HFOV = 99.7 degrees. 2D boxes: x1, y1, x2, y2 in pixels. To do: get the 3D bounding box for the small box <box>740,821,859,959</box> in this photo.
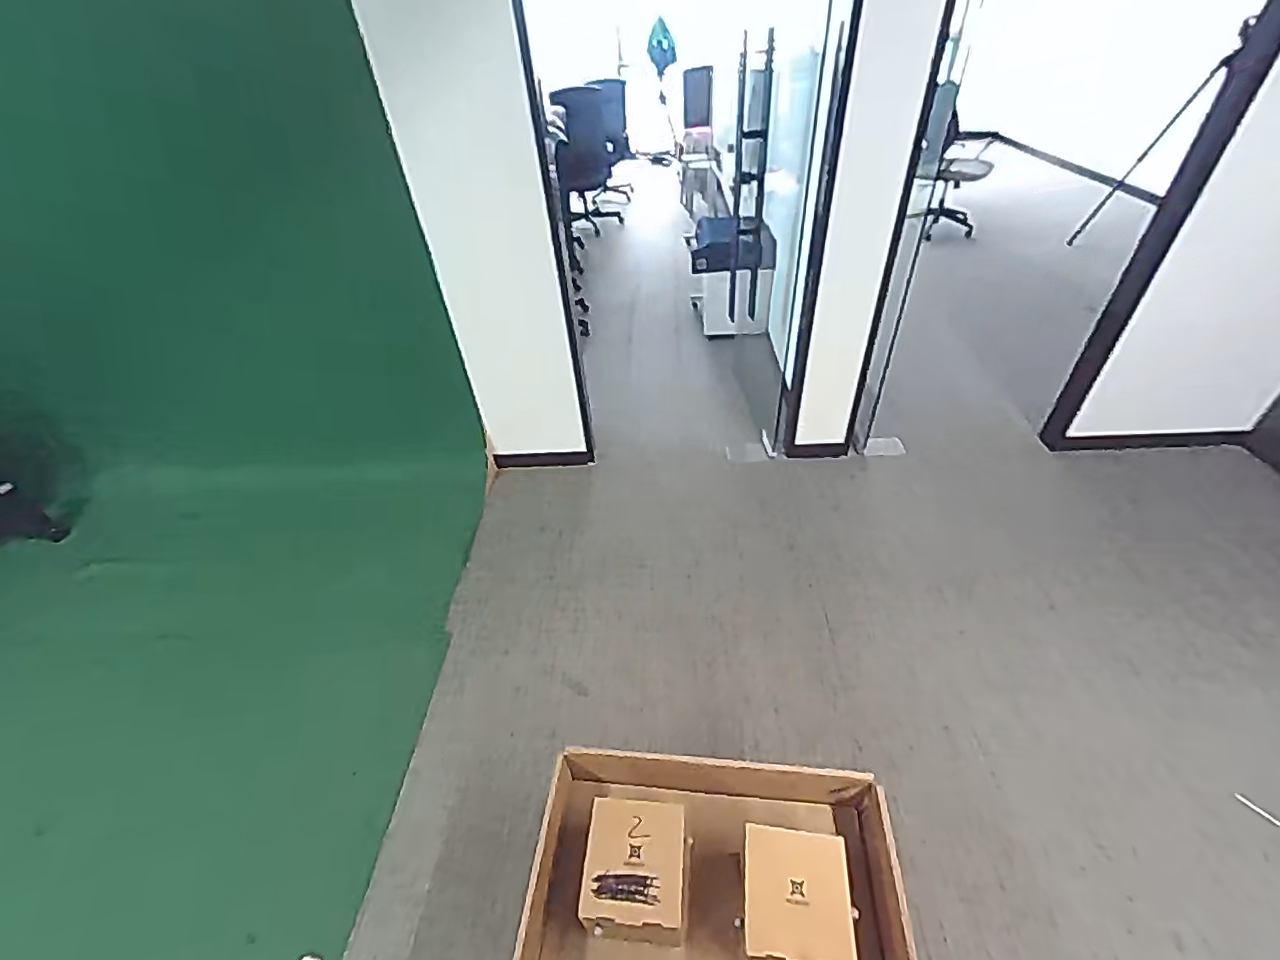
[{"bbox_3d":[0.255,0.707,0.906,0.168,0.176,0.179,2,43,9],"label":"small box"}]
